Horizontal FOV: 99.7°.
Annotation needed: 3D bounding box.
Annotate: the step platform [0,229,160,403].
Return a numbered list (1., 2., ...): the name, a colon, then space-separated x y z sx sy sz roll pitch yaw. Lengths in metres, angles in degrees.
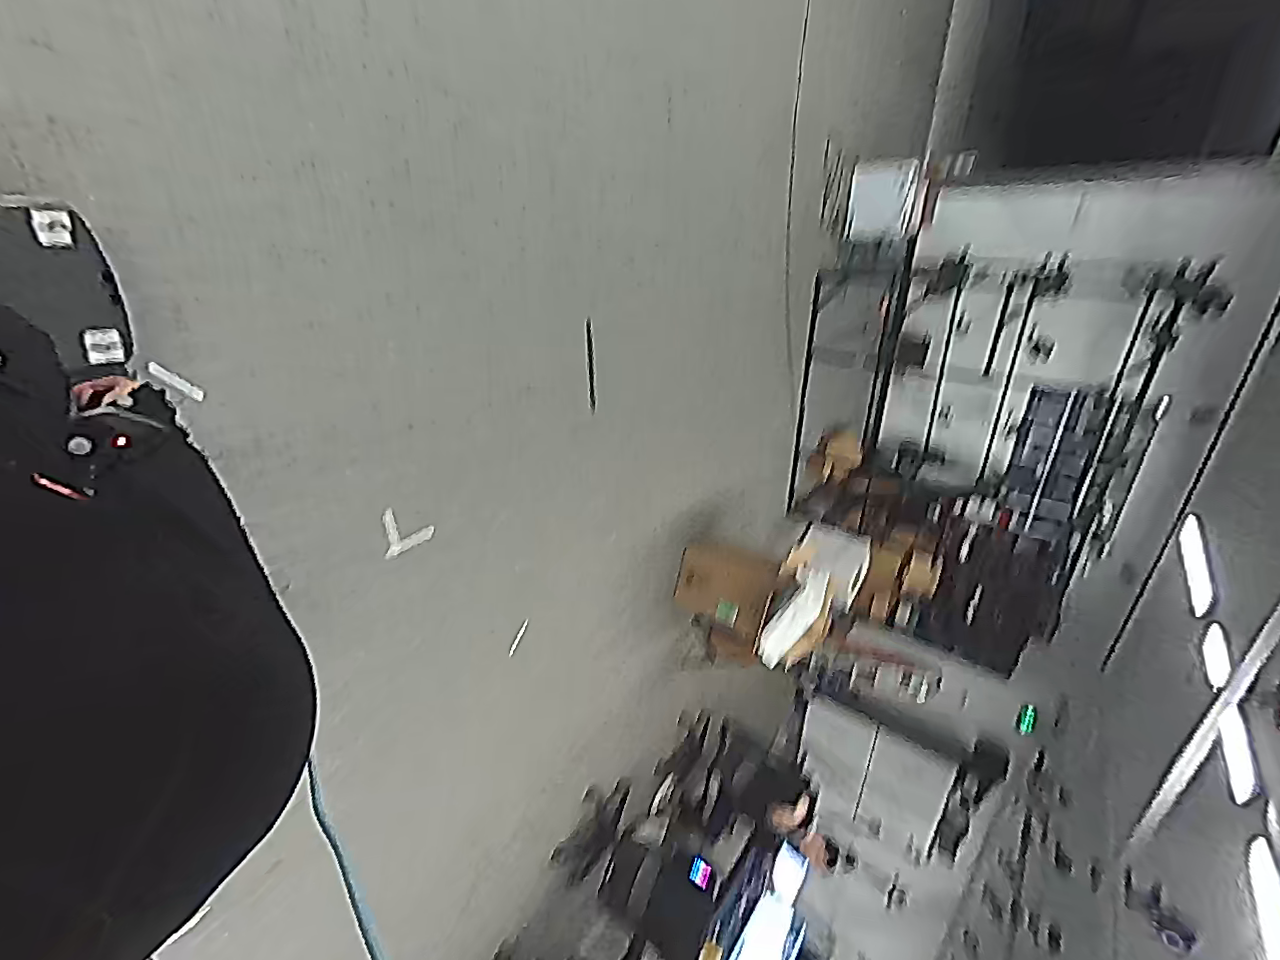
1. step platform: -1.214 -0.255 0.847 0.684 0.204 0.286 -24 123 -49
